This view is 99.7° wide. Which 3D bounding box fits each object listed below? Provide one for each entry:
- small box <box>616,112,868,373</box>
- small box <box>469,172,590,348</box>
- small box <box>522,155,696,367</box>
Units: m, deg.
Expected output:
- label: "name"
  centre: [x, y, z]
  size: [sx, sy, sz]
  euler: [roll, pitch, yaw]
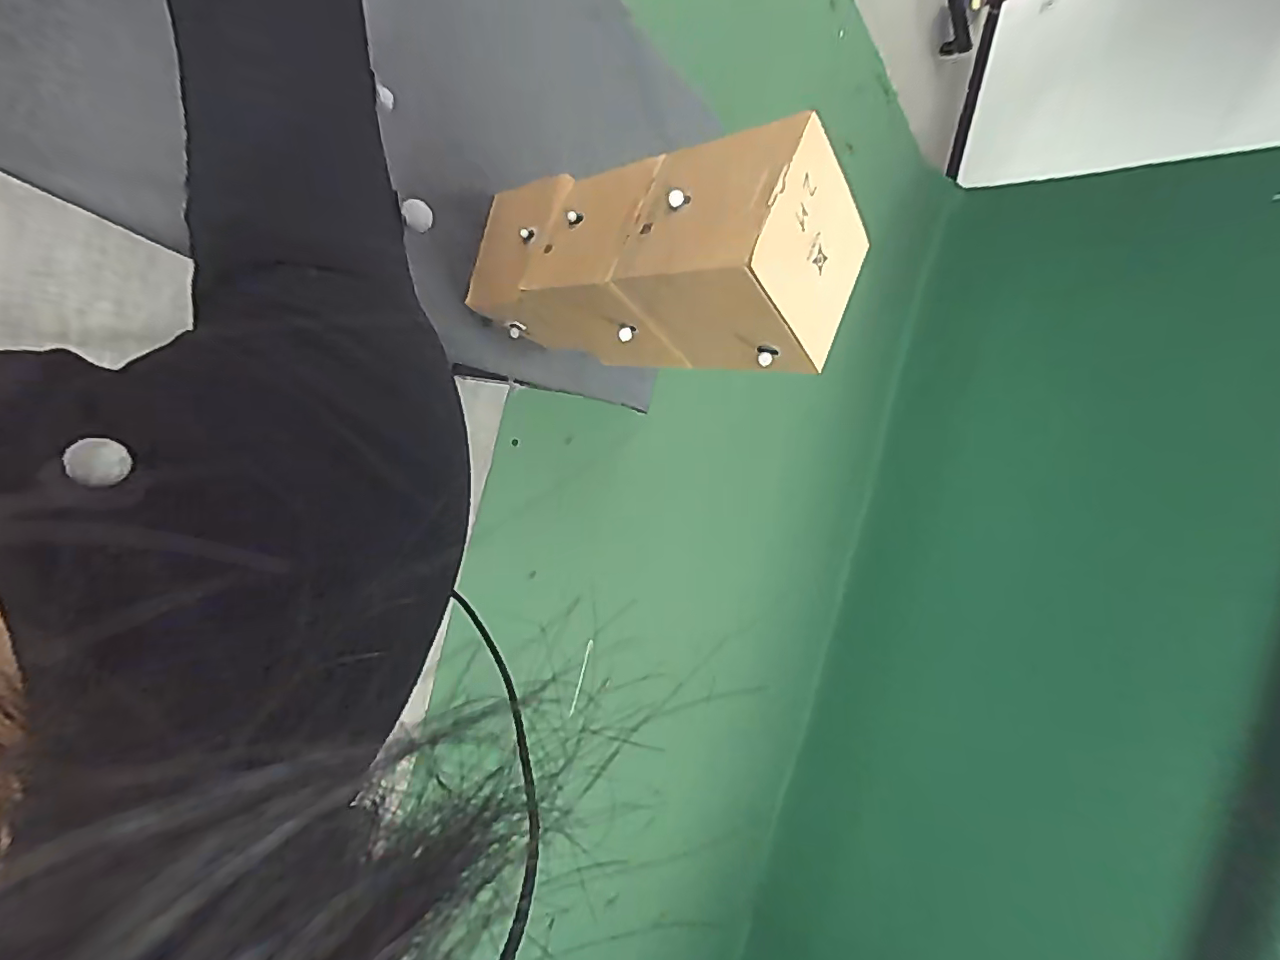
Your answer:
- label: "small box"
  centre: [0.108, -0.231, 0.568]
  size: [0.179, 0.176, 0.168]
  euler: [33, 76, -45]
- label: "small box"
  centre: [-0.124, -0.305, 0.787]
  size: [0.168, 0.176, 0.179]
  euler: [16, 90, -47]
- label: "small box"
  centre: [-0.012, -0.260, 0.677]
  size: [0.179, 0.176, 0.168]
  euler: [31, 78, -45]
